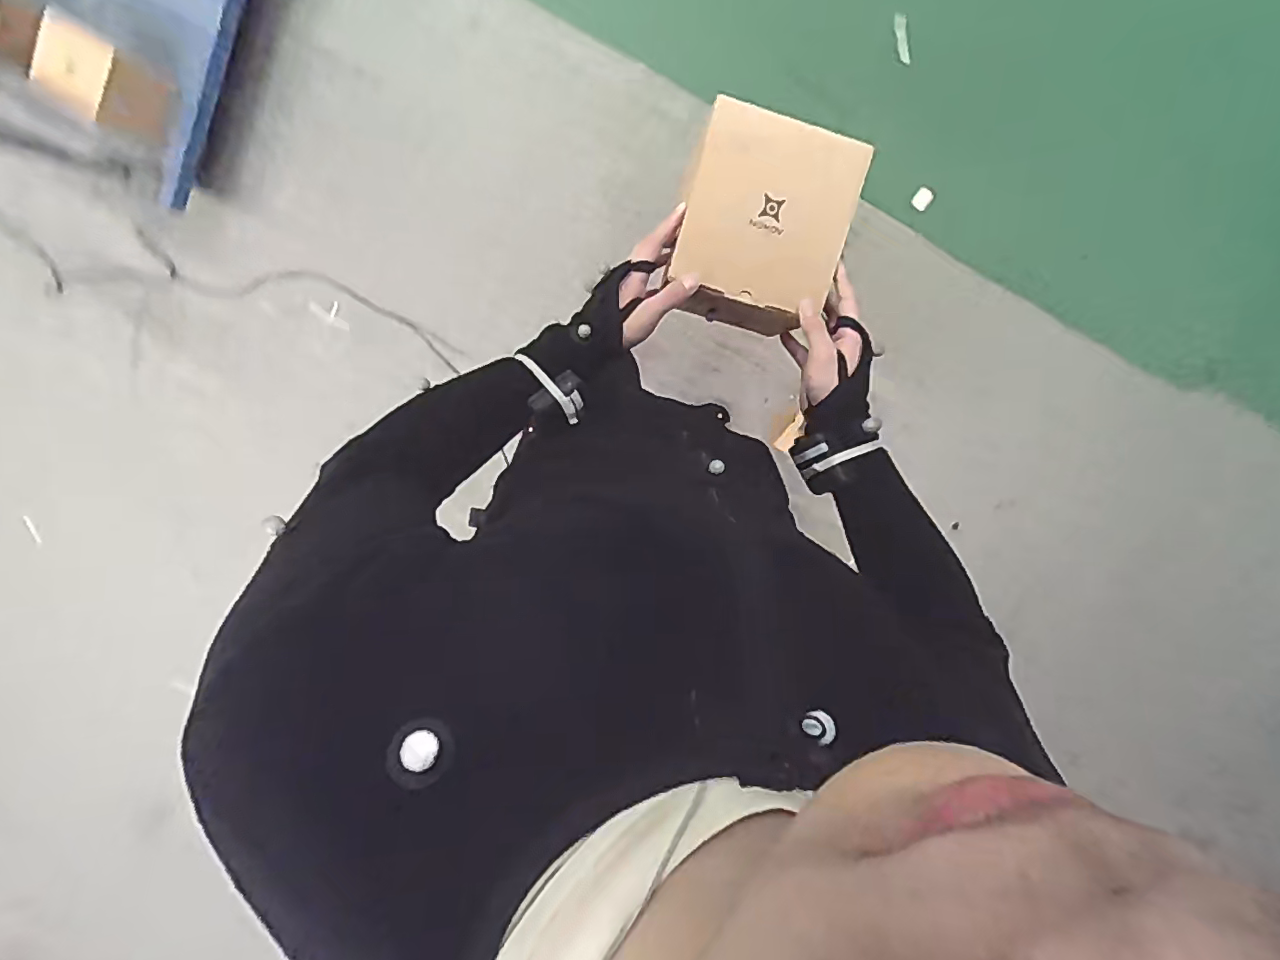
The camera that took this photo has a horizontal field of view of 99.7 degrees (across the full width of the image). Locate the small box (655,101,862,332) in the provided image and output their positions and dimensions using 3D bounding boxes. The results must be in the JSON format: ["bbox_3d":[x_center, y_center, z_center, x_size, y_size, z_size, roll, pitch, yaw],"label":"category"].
[{"bbox_3d":[0.118,-0.279,0.619,0.168,0.176,0.179,13,100,-6],"label":"small box"}]

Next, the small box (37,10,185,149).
[{"bbox_3d":[-1.238,-0.928,1.277,0.168,0.176,0.179,33,104,-3],"label":"small box"}]

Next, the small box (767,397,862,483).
[{"bbox_3d":[0.477,-0.119,1.514,0.179,0.176,0.168,35,105,-4],"label":"small box"}]
